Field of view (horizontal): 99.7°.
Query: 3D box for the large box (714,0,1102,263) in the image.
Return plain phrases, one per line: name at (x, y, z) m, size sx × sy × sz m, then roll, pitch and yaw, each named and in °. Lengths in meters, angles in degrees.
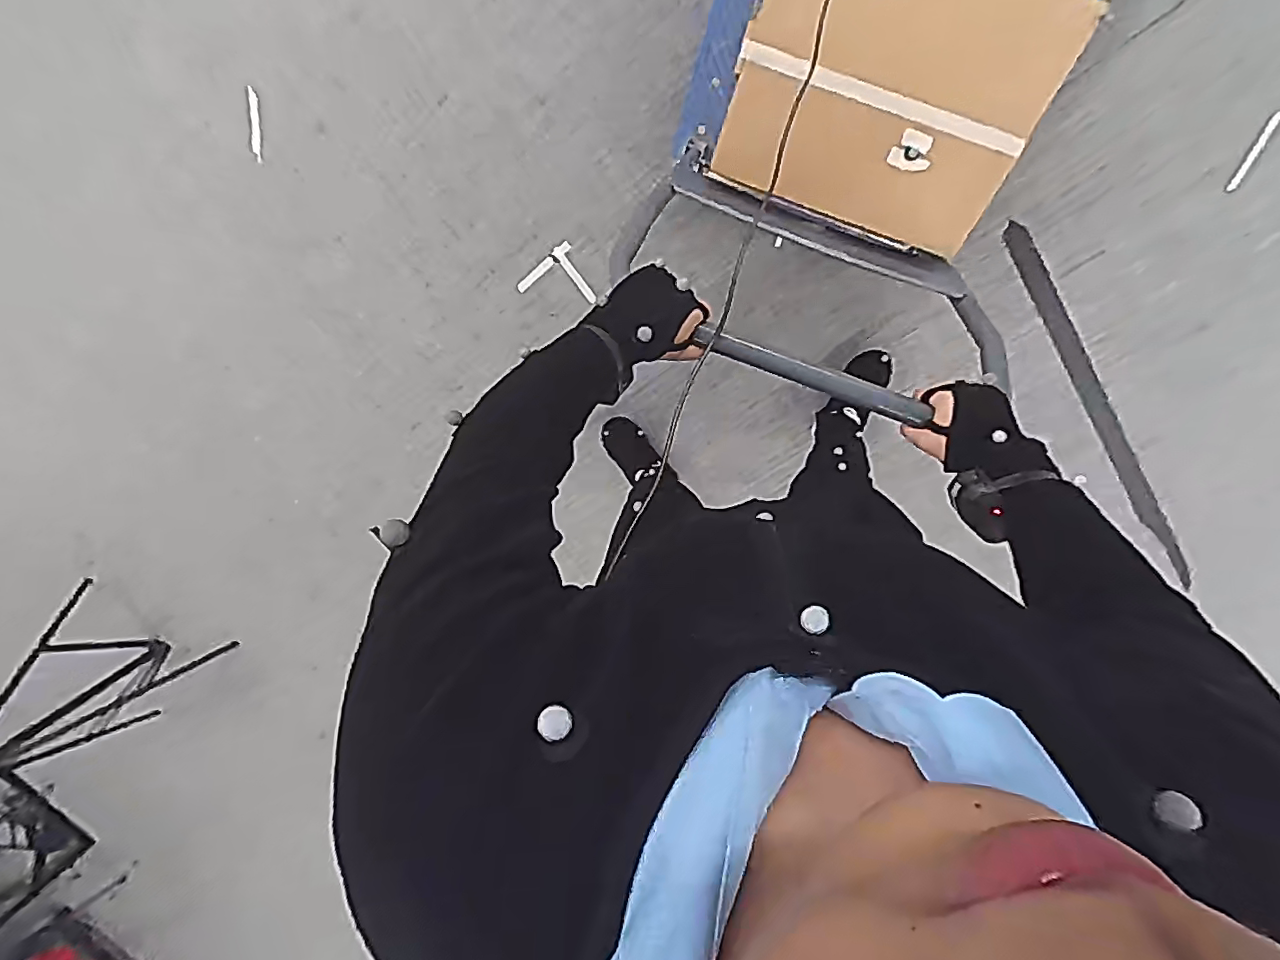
large box at (0.365, -0.599, 0.866) m, size 0.408 × 0.320 × 0.320 m, roll 20°, pitch 128°, yaw -1°
